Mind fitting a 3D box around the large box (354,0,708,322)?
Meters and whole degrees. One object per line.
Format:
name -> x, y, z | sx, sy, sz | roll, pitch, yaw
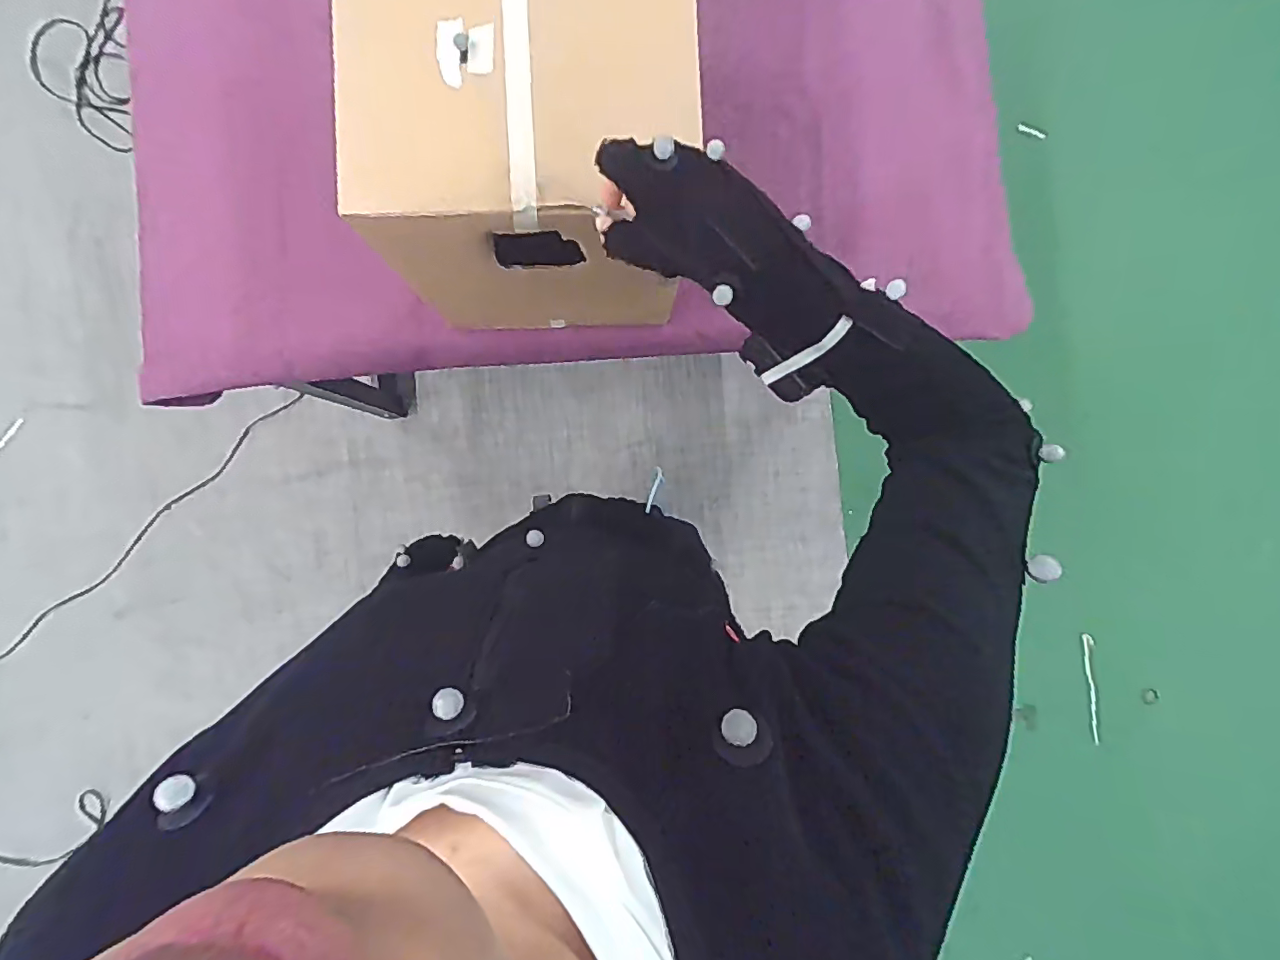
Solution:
large box -> -0.111, -0.429, 0.632 | 0.320, 0.320, 0.408 | -2, 89, -3
